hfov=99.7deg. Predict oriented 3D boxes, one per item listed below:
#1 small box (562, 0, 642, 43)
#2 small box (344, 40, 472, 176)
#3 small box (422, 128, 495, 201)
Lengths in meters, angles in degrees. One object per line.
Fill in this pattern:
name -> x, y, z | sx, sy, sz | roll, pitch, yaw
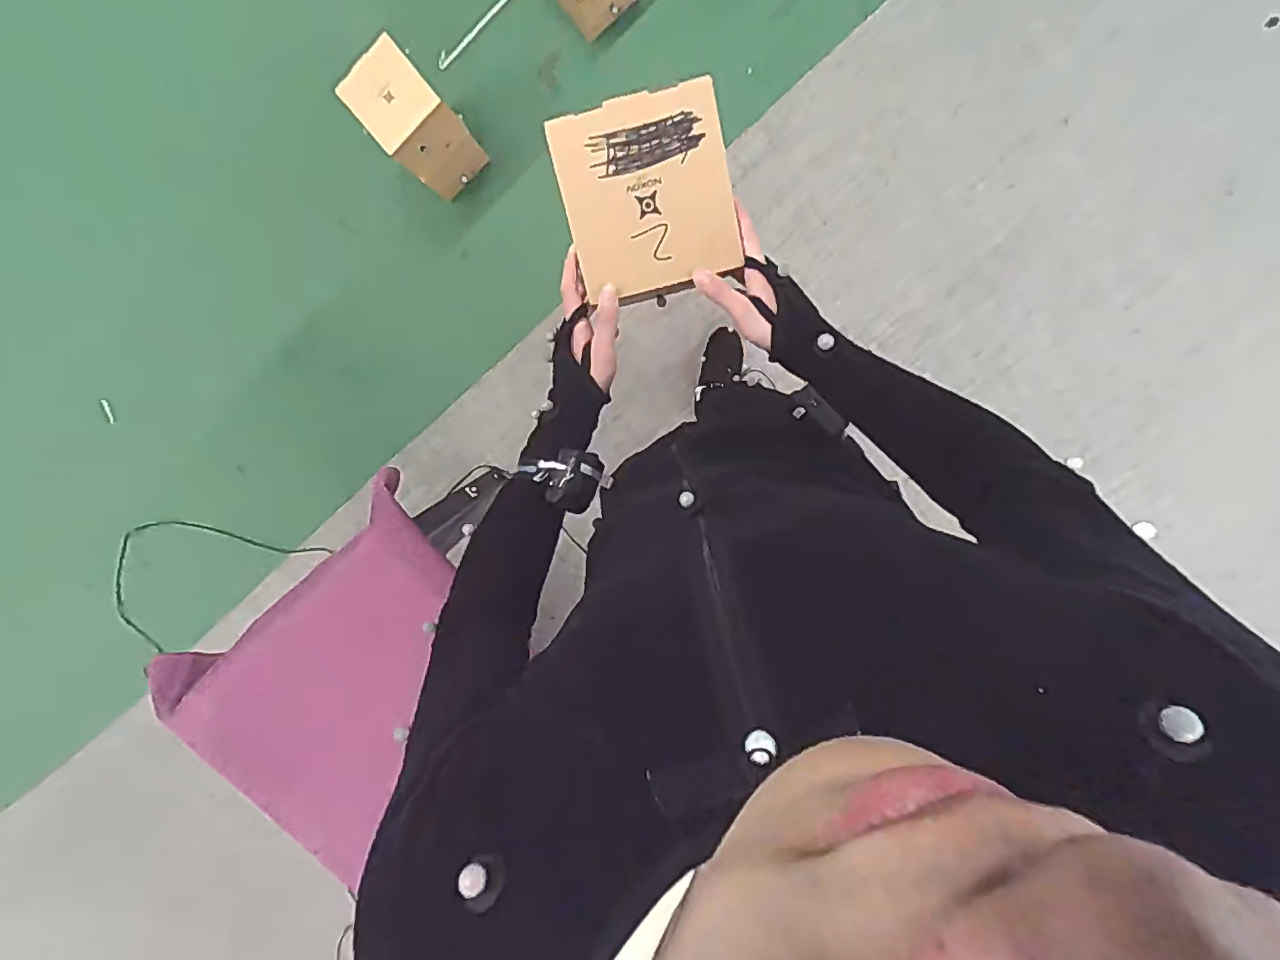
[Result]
small box -> -0.109, -1.224, 1.302 | 0.168, 0.176, 0.179 | -37, 97, 10
small box -> -0.521, -0.835, 1.243 | 0.168, 0.176, 0.179 | -40, 95, 11
small box -> -0.512, -0.865, 1.402 | 0.168, 0.176, 0.179 | -39, 97, 11
